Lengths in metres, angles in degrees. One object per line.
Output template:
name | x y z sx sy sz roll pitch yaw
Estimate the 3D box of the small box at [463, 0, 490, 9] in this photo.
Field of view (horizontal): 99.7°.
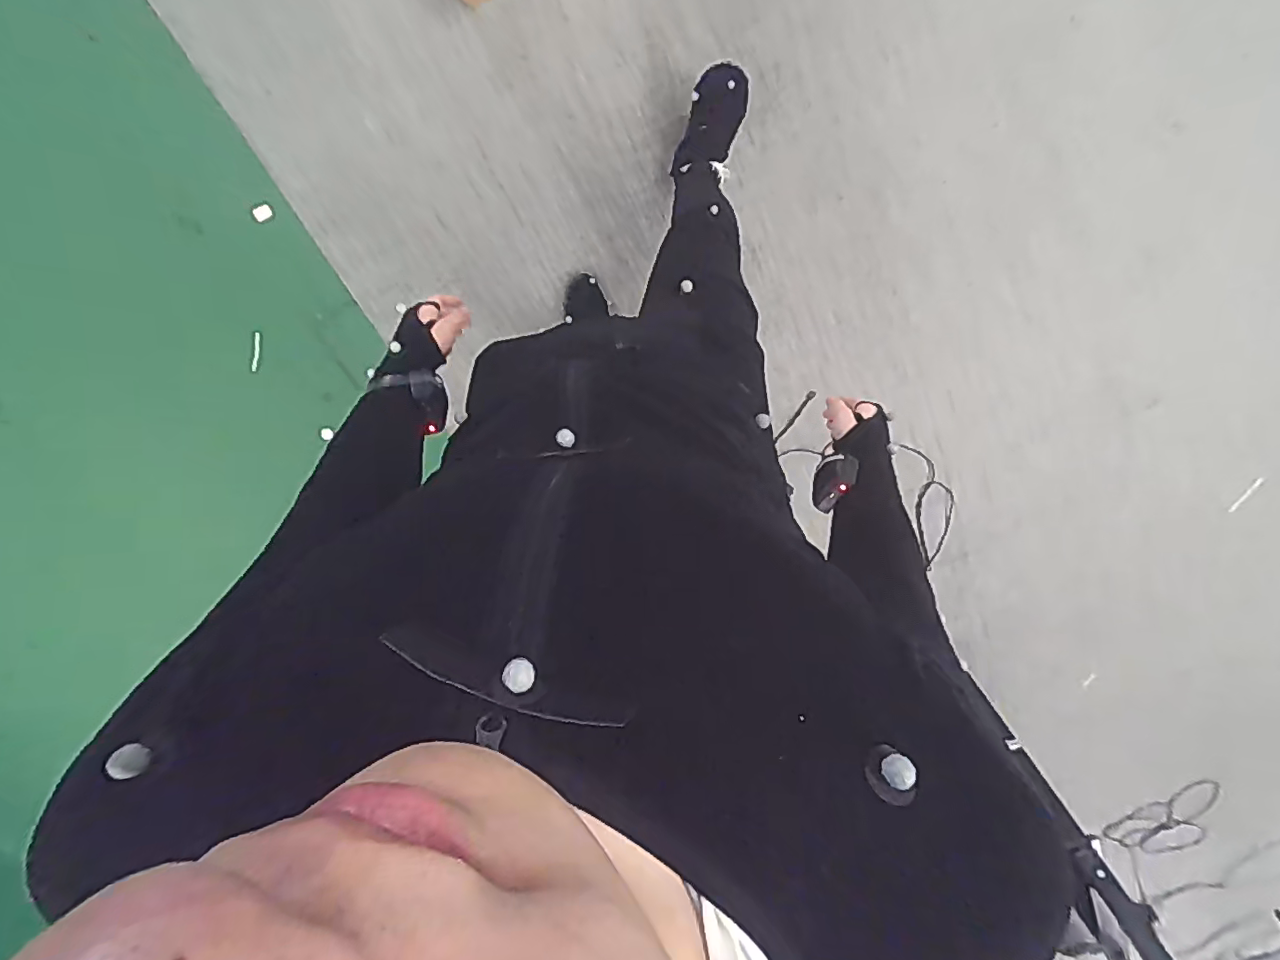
small box | -0.322 -1.074 1.051 0.179 0.176 0.168 -25 116 10
